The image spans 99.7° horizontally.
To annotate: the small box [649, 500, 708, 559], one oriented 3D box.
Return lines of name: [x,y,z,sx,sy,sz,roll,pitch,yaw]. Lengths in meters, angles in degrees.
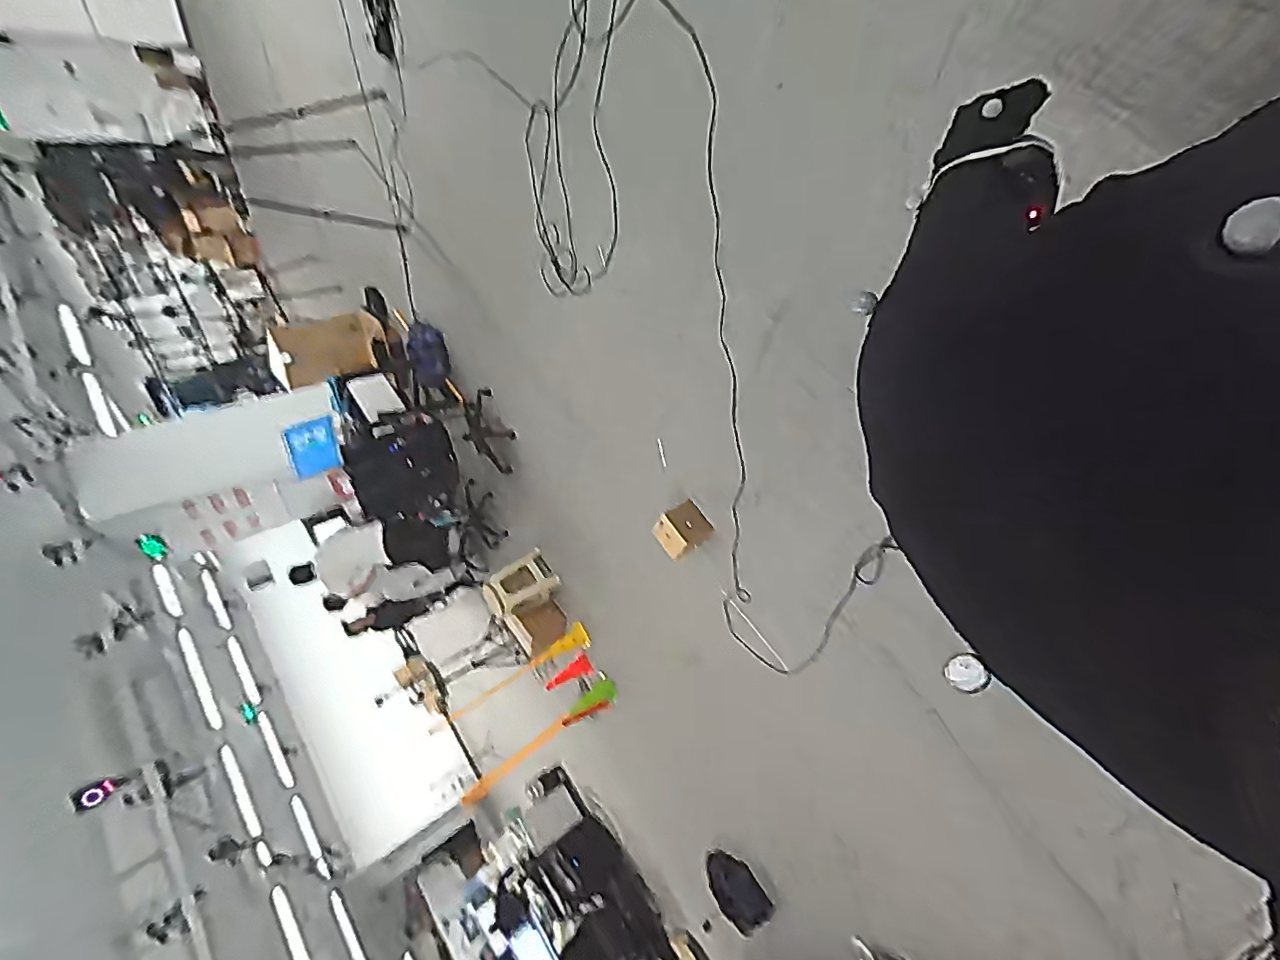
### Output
small box: [0.177,0.220,2.439,0.179,0.176,0.168,52,144,18]
